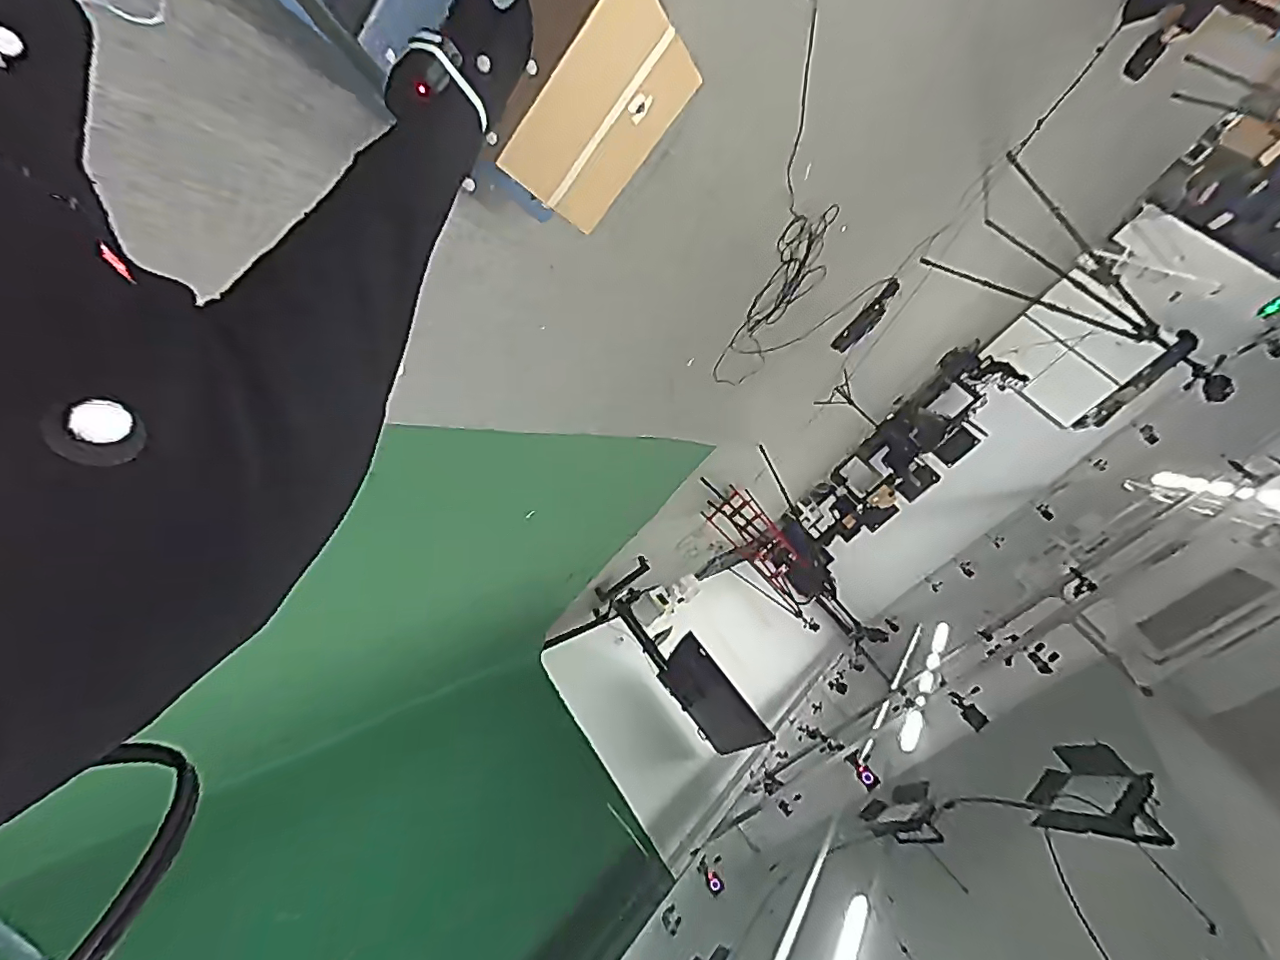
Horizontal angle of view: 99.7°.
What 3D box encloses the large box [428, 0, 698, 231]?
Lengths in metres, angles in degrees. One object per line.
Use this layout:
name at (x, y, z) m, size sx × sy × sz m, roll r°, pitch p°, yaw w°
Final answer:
large box at (-0.163, -0.833, 1.134) m, size 0.408 × 0.320 × 0.320 m, roll -48°, pitch 158°, yaw 19°
